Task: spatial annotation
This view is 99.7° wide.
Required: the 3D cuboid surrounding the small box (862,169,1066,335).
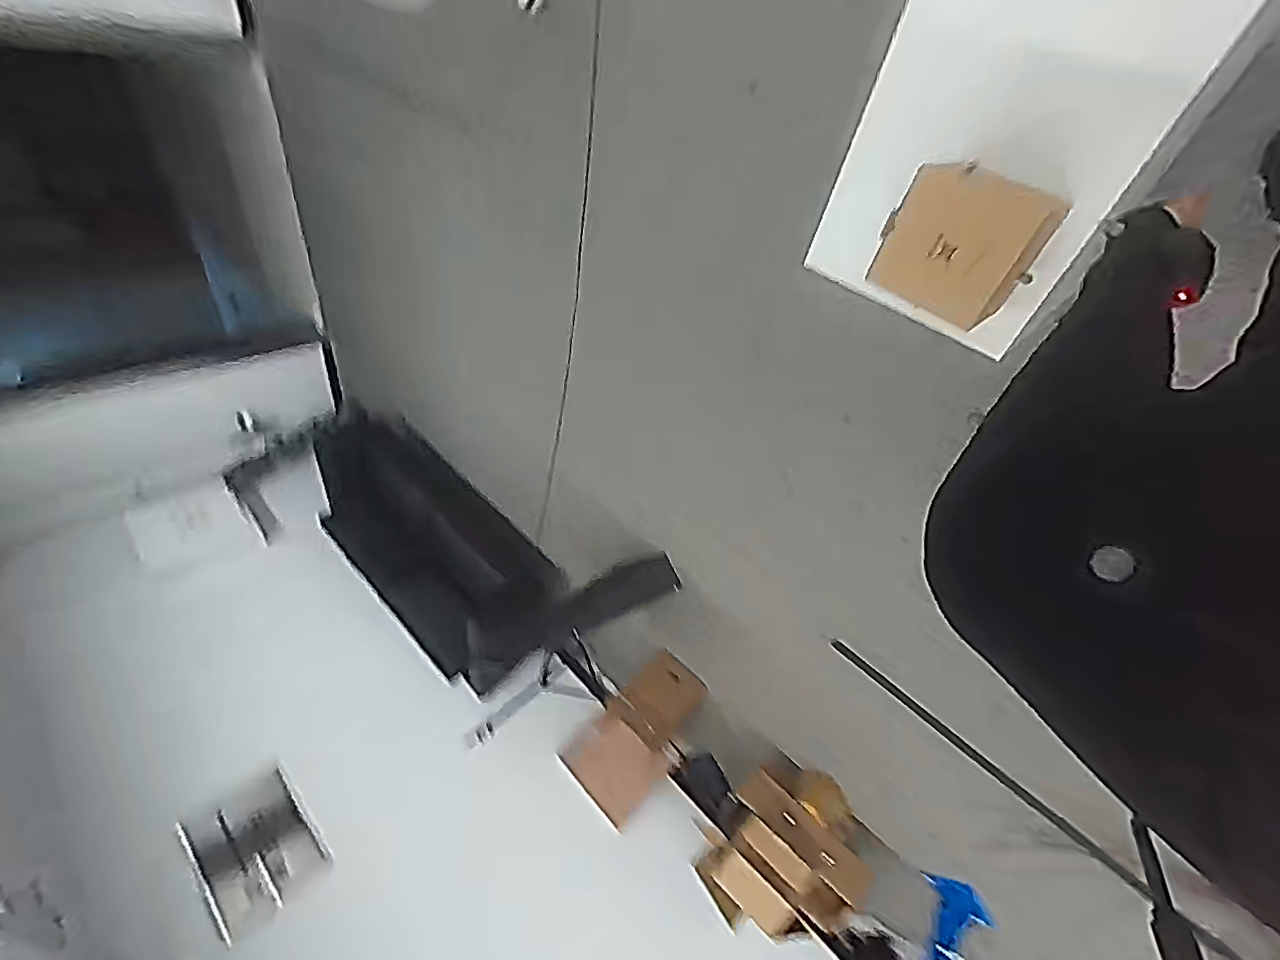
[{"bbox_3d":[0.474,-0.342,0.799,0.179,0.176,0.168,40,139,24],"label":"small box"}]
